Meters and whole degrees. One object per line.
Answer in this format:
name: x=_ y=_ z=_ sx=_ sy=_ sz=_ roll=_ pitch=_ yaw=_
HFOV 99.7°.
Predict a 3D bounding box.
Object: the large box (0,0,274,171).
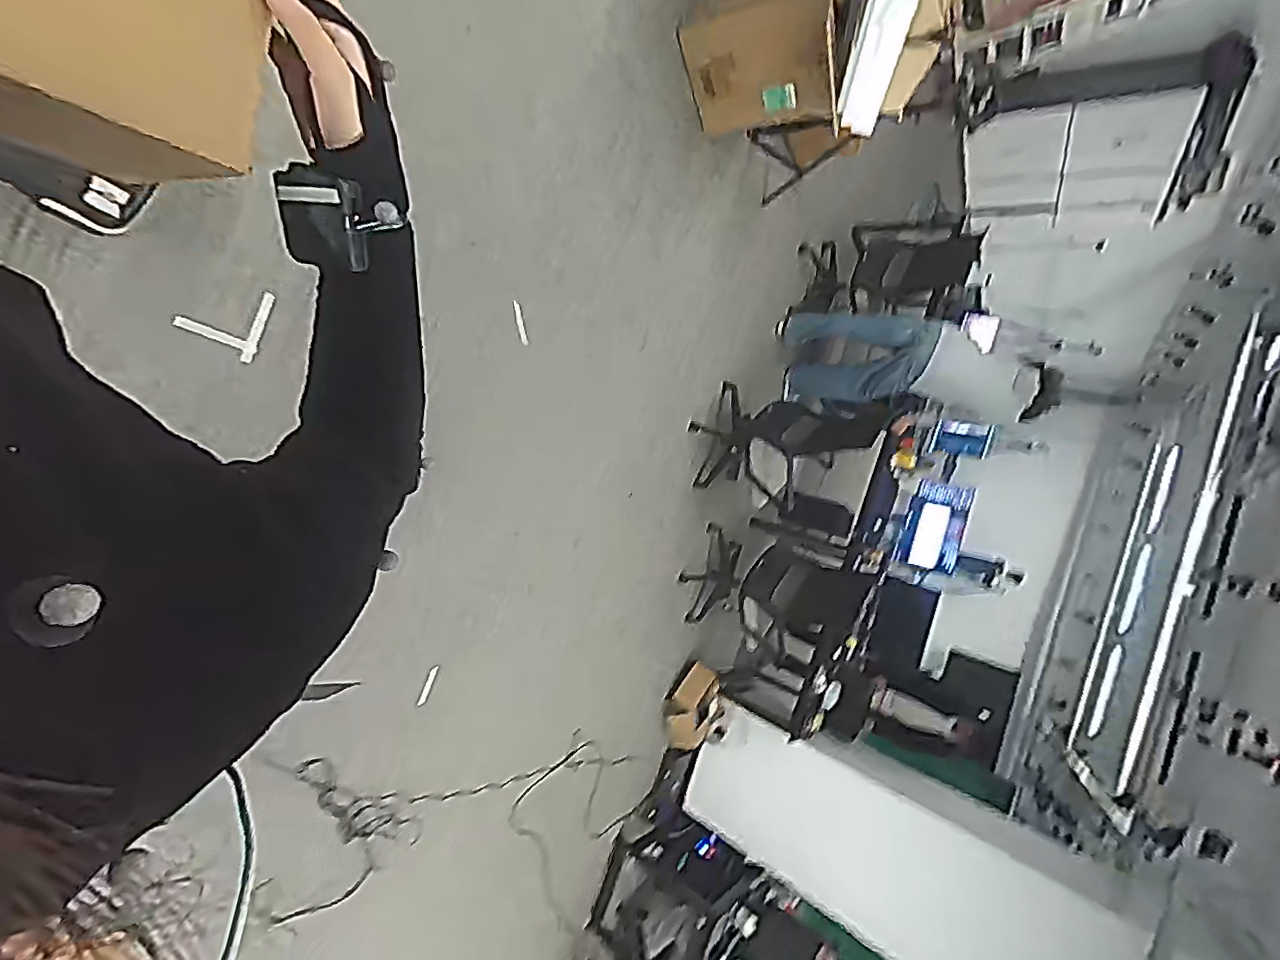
large box: x=-0.433 y=-0.380 z=0.237 sx=0.408 sy=0.320 sz=0.320 roll=1 pitch=106 yaw=-54
